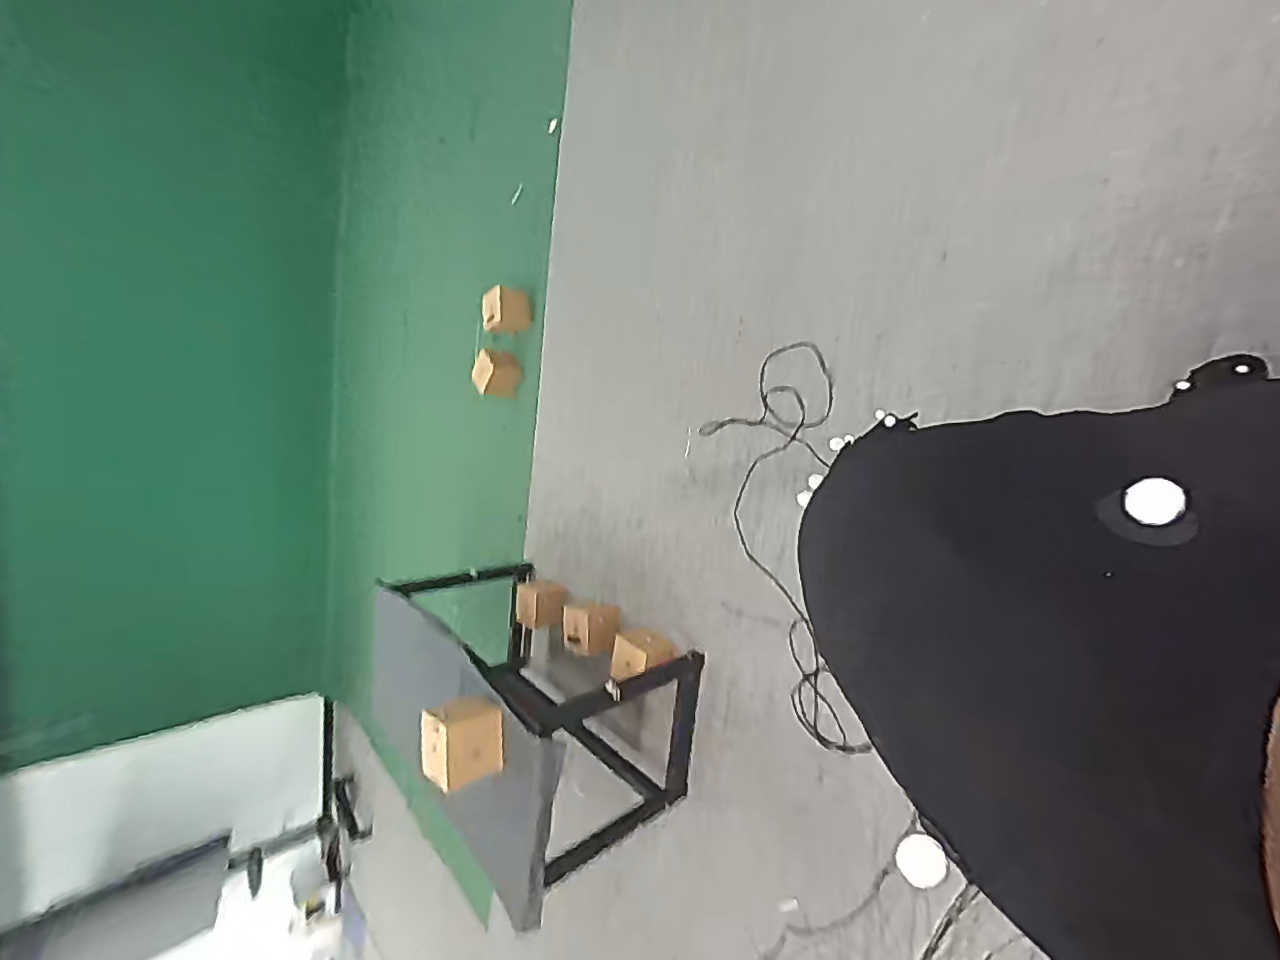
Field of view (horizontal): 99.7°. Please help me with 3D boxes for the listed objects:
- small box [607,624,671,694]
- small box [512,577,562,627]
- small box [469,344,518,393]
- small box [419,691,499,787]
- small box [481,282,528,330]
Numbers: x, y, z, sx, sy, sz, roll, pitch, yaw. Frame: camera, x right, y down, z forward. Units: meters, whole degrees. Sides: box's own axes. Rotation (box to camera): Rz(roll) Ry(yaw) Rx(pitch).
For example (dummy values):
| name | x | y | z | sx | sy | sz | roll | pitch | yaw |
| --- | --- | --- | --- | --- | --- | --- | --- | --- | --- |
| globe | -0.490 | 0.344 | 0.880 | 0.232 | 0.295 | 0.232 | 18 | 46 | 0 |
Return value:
| name | x | y | z | sx | sy | sz | roll | pitch | yaw |
| --- | --- | --- | --- | --- | --- | --- | --- | --- | --- |
| small box | 0.001 | 0.675 | 2.064 | 0.168 | 0.176 | 0.179 | 21 | 106 | 42 |
| small box | -0.480 | 0.563 | 2.531 | 0.168 | 0.176 | 0.179 | 9 | 98 | 45 |
| small box | -0.742 | -0.564 | 2.752 | 0.168 | 0.176 | 0.179 | 55 | 127 | 29 |
| small box | -0.515 | 0.731 | 1.547 | 0.168 | 0.176 | 0.179 | -2 | 90 | 45 |
| small box | -0.668 | -0.850 | 2.667 | 0.168 | 0.176 | 0.179 | -7 | 86 | 45 |
